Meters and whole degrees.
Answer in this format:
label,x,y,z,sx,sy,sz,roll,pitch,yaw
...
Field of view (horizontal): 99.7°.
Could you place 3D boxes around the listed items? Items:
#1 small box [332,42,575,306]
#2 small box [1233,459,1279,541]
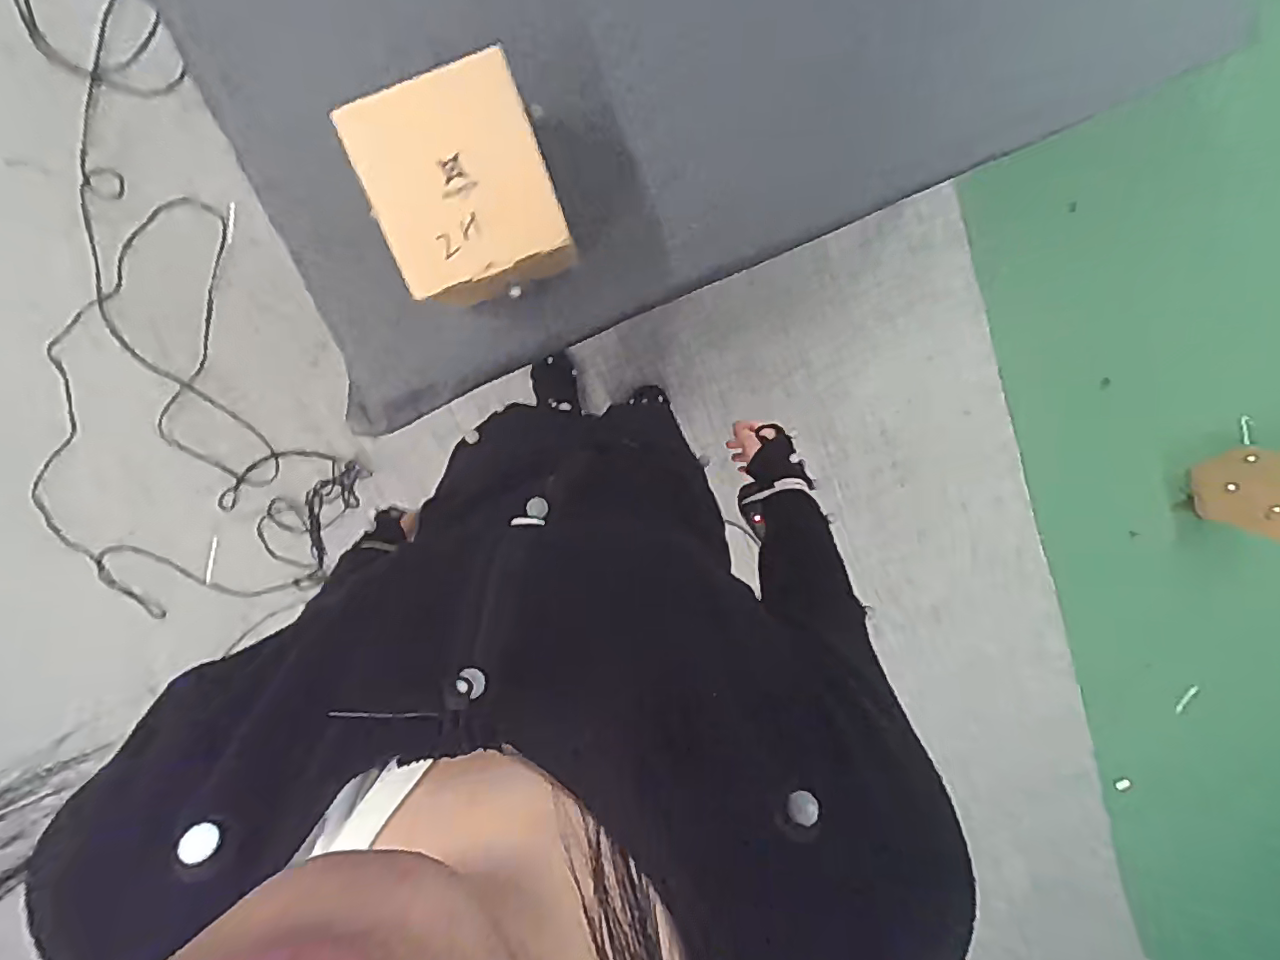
label,x,y,z,sx,sy,sz,roll,pitch,yaw
small box,-0.176,-0.299,0.572,0.168,0.176,0.179,-21,105,1
small box,1.745,0.054,1.429,0.179,0.176,0.168,-25,105,1
